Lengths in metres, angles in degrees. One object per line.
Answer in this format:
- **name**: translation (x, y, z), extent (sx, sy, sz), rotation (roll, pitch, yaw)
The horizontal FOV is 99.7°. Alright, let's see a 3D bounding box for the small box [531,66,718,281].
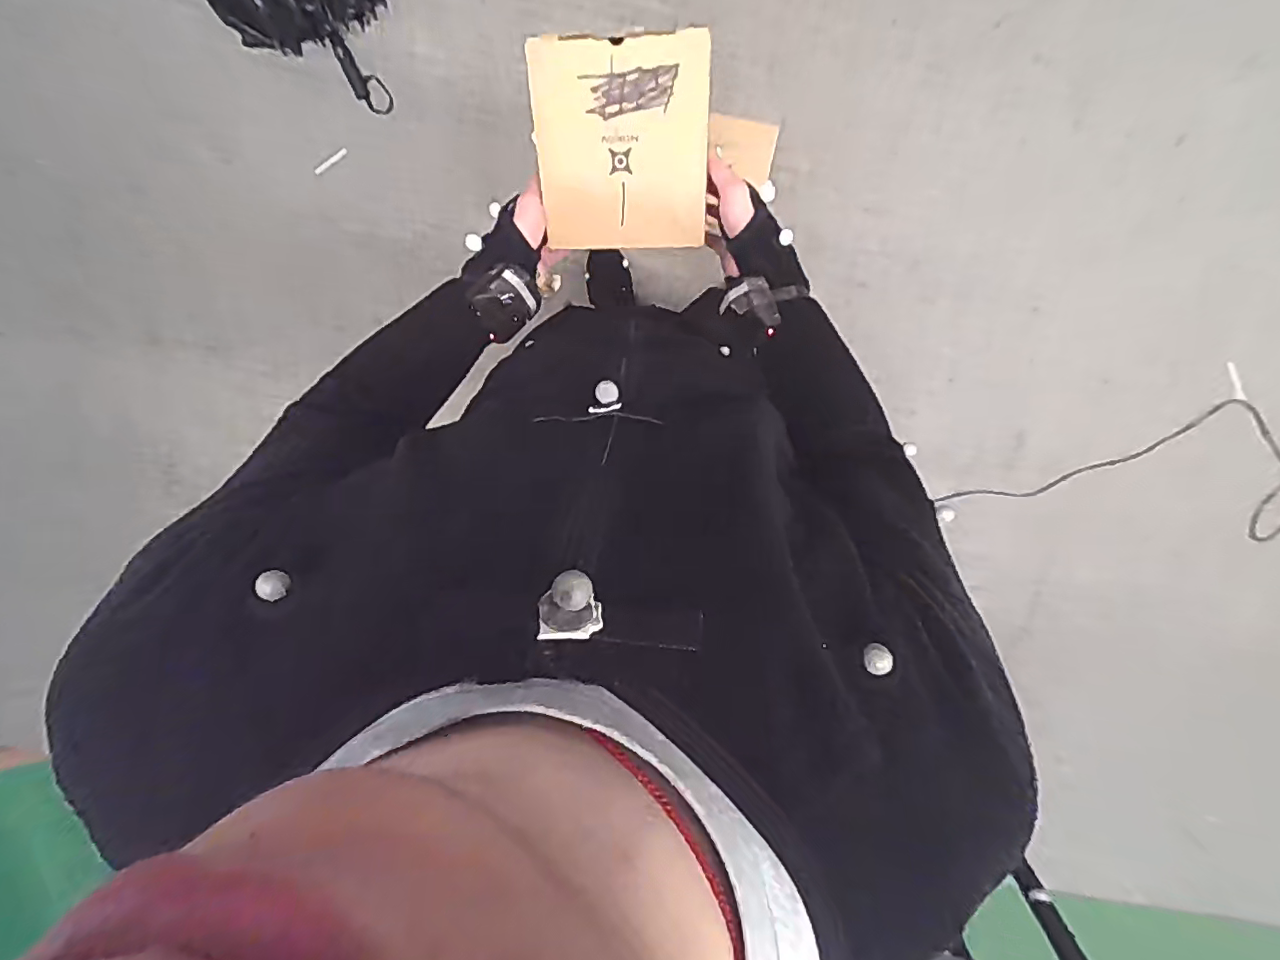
- **small box**: translation (-0.014, -0.322, 0.577), extent (0.168, 0.176, 0.179), rotation (2, 123, 2)

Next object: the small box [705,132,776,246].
- **small box**: translation (0.157, -0.578, 1.084), extent (0.168, 0.176, 0.179), rotation (8, 114, -3)
